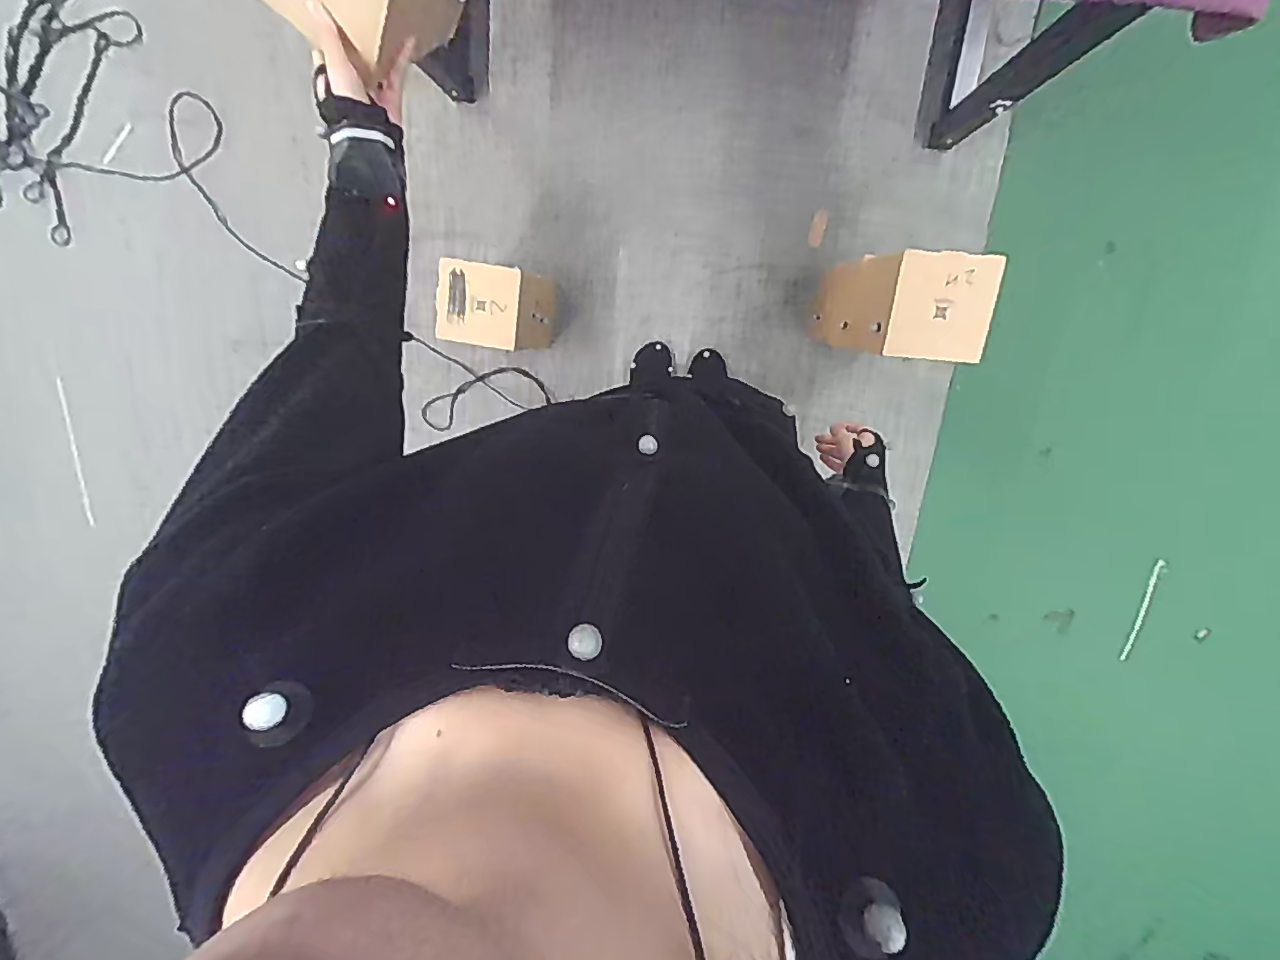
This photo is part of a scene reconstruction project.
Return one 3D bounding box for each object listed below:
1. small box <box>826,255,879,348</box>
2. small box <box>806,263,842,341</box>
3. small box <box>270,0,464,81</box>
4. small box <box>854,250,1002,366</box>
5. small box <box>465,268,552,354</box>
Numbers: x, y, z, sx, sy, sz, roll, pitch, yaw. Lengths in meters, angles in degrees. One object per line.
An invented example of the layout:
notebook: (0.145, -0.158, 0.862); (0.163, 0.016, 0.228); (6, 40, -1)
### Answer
small box: (0.503, -0.366, 1.138); (0.168, 0.176, 0.179); (5, 107, 3)
small box: (0.510, -0.413, 1.293); (0.179, 0.176, 0.168); (7, 106, 2)
small box: (-0.258, -0.522, 0.485); (0.179, 0.176, 0.168); (35, 143, -21)
small box: (0.505, -0.311, 0.981); (0.168, 0.176, 0.179); (6, 108, 2)
small box: (-0.324, -0.420, 1.354); (0.168, 0.176, 0.179); (10, 107, 1)
